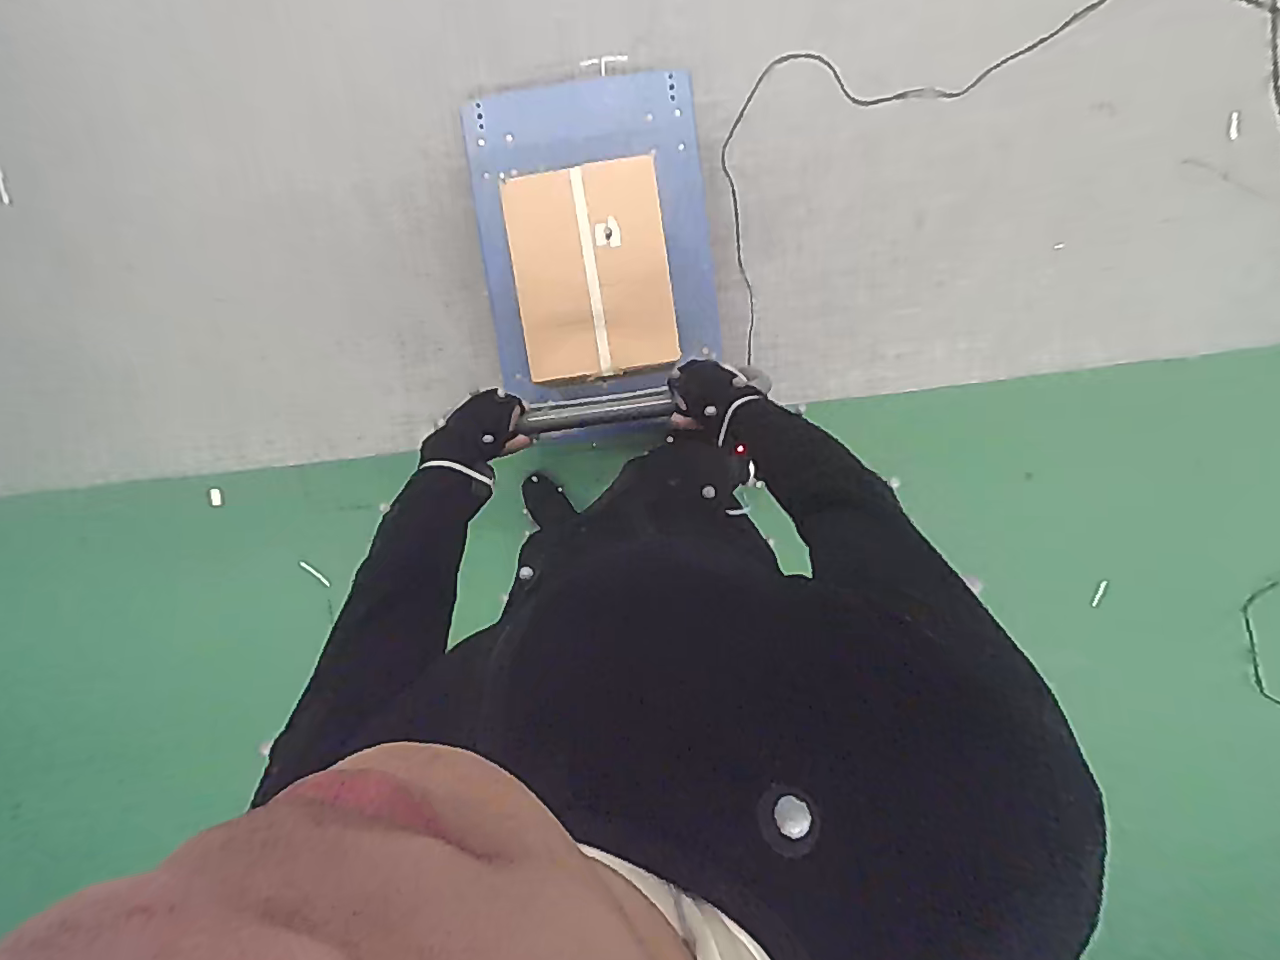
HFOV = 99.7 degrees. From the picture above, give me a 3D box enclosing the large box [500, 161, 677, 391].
[{"bbox_3d":[-0.098,-0.436,1.251,0.320,0.320,0.408,-8,96,2],"label":"large box"}]
